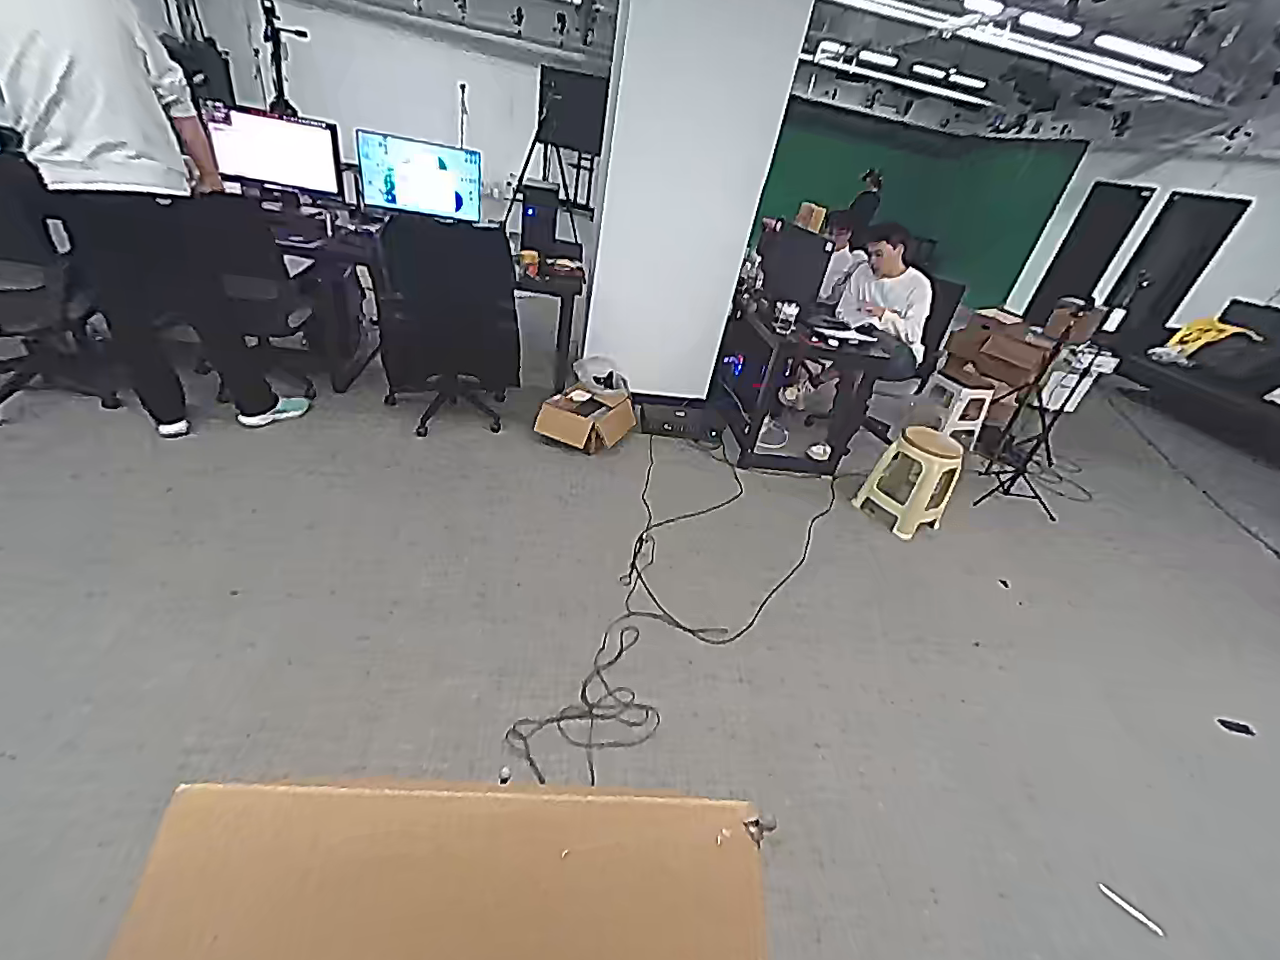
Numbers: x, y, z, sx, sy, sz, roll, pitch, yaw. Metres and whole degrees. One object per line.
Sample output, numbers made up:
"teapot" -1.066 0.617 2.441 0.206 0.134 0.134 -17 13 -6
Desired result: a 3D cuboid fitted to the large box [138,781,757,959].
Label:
"large box" -0.138 0.434 0.458 0.408 0.320 0.320 5 63 -6
